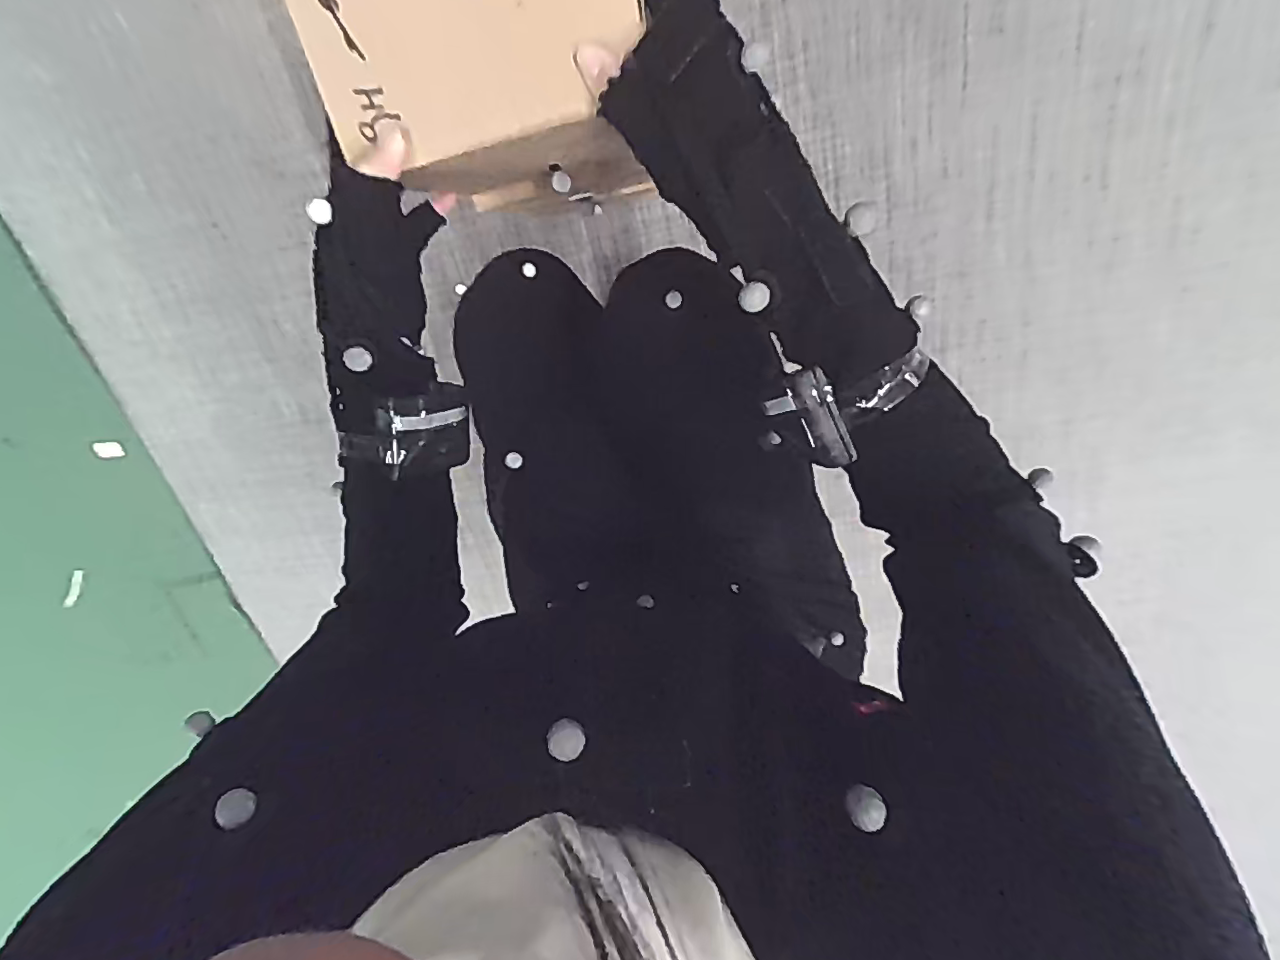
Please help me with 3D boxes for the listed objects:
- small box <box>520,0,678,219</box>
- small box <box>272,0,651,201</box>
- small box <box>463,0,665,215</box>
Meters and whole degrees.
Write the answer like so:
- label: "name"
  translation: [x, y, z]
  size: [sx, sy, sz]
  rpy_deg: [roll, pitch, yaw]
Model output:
- label: "small box"
  translation: [-0.054, -0.407, 0.627]
  size: [0.179, 0.176, 0.168]
  rpy_deg: [-8, 114, 9]
- label: "small box"
  translation: [-0.092, -0.281, 0.331]
  size: [0.179, 0.176, 0.168]
  rpy_deg: [-8, 113, 10]
- label: "small box"
  translation: [-0.074, -0.345, 0.480]
  size: [0.168, 0.176, 0.179]
  rpy_deg: [-8, 115, 10]
